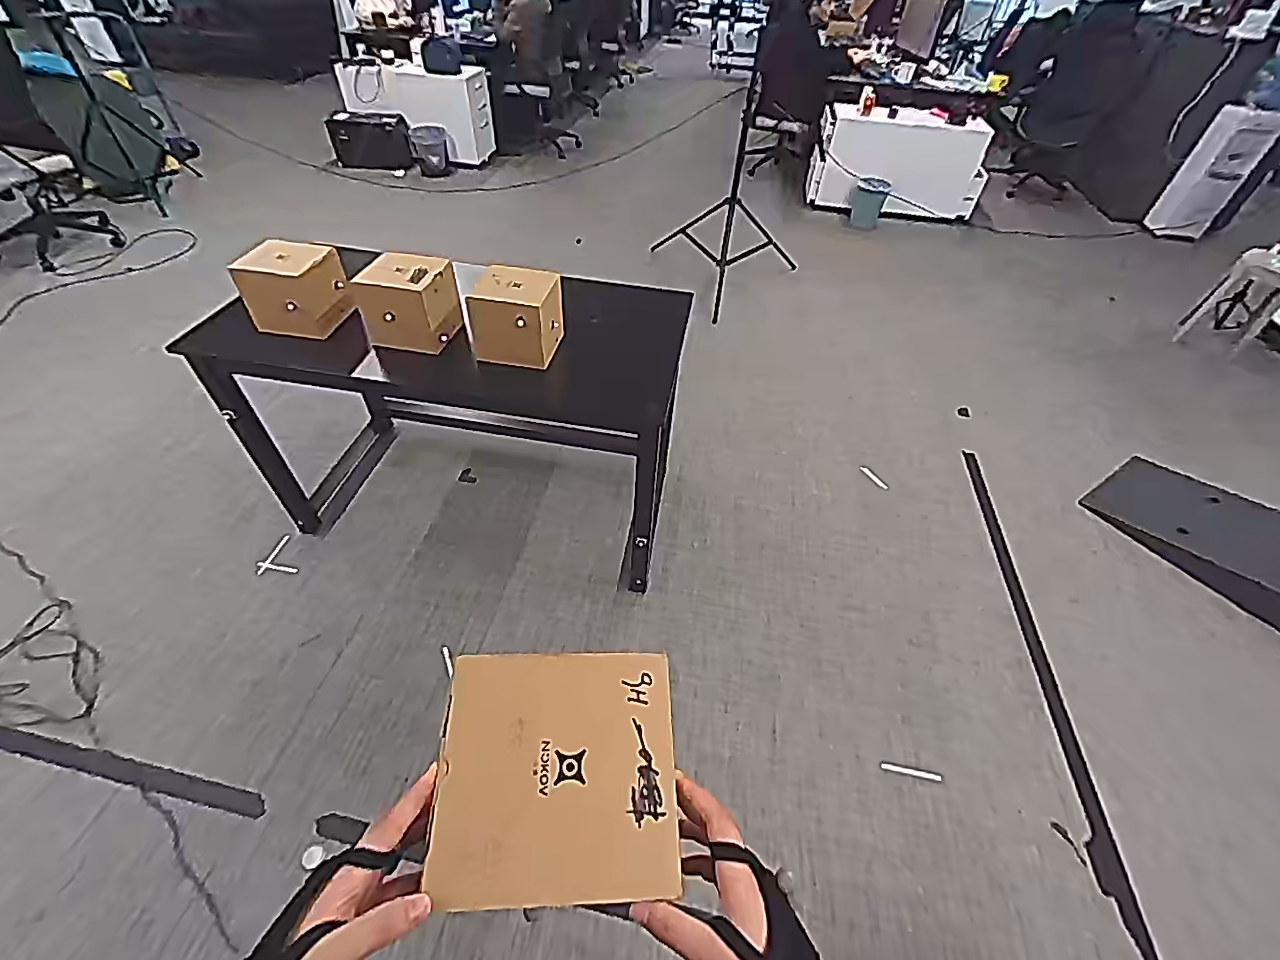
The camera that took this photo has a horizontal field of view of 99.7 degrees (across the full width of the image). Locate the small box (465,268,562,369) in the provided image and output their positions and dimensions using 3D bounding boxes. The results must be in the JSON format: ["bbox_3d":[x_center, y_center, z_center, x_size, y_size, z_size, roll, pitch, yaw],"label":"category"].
[{"bbox_3d":[-0.293,-0.386,1.303,0.179,0.176,0.168,8,46,5],"label":"small box"}]

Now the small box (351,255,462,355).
[{"bbox_3d":[-0.560,-0.426,1.327,0.179,0.176,0.168,9,46,6],"label":"small box"}]

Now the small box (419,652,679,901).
[{"bbox_3d":[-0.067,0.256,0.470,0.179,0.176,0.168,1,56,-5],"label":"small box"}]

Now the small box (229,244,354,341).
[{"bbox_3d":[-0.852,-0.463,1.347,0.179,0.176,0.168,7,46,4],"label":"small box"}]
